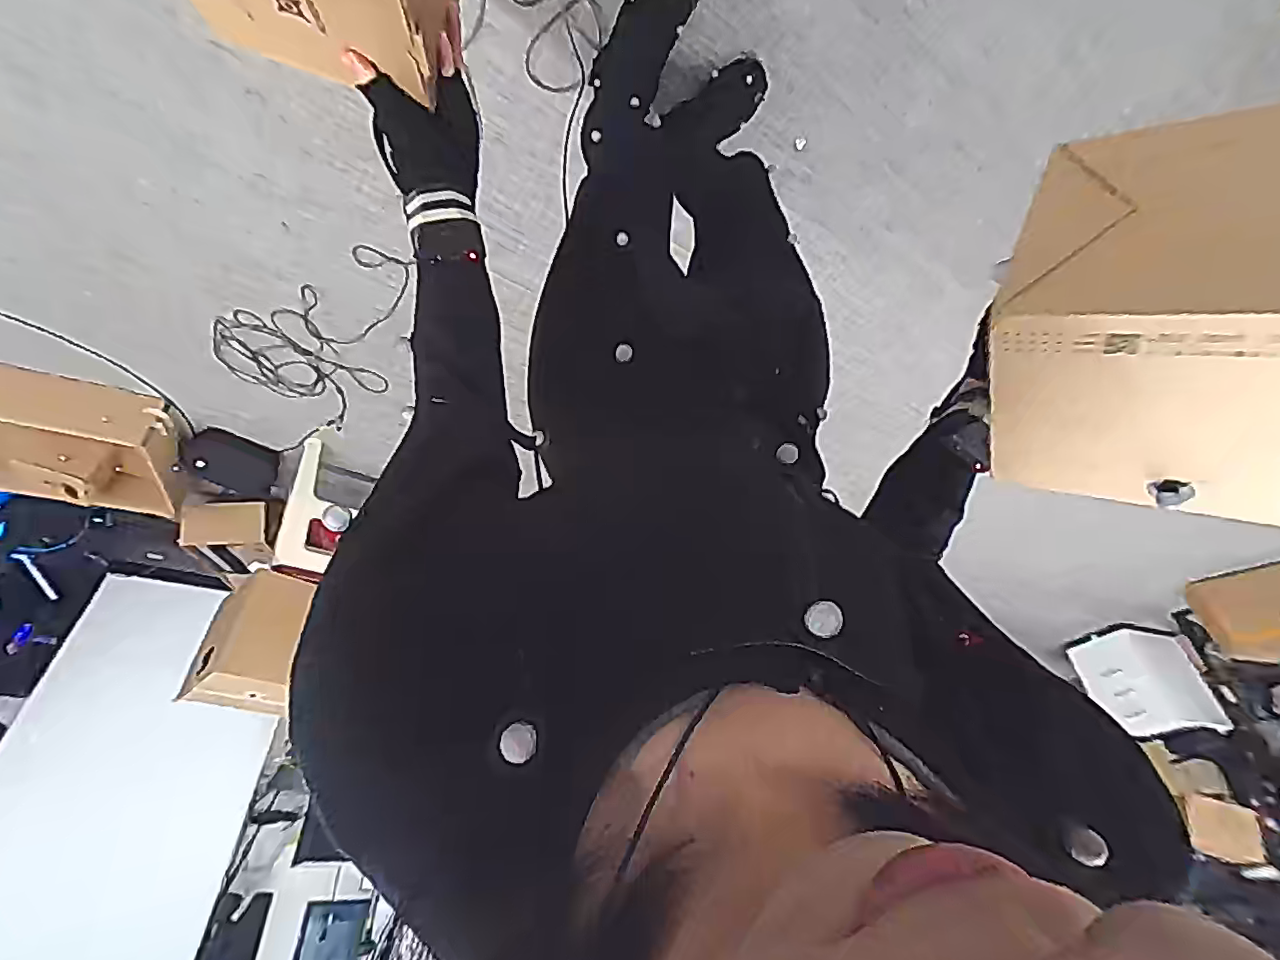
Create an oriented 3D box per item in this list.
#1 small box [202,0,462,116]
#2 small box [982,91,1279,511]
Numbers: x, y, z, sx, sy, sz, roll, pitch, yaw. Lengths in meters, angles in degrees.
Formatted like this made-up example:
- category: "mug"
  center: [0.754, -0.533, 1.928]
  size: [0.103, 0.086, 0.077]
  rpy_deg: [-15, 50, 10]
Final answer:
- category: "small box"
  center: [-0.230, -0.427, 0.399]
  size: [0.179, 0.176, 0.168]
  rpy_deg: [15, 180, -12]
- category: "small box"
  center: [0.331, -0.108, 0.339]
  size: [0.168, 0.179, 0.176]
  rpy_deg: [12, 151, 41]
